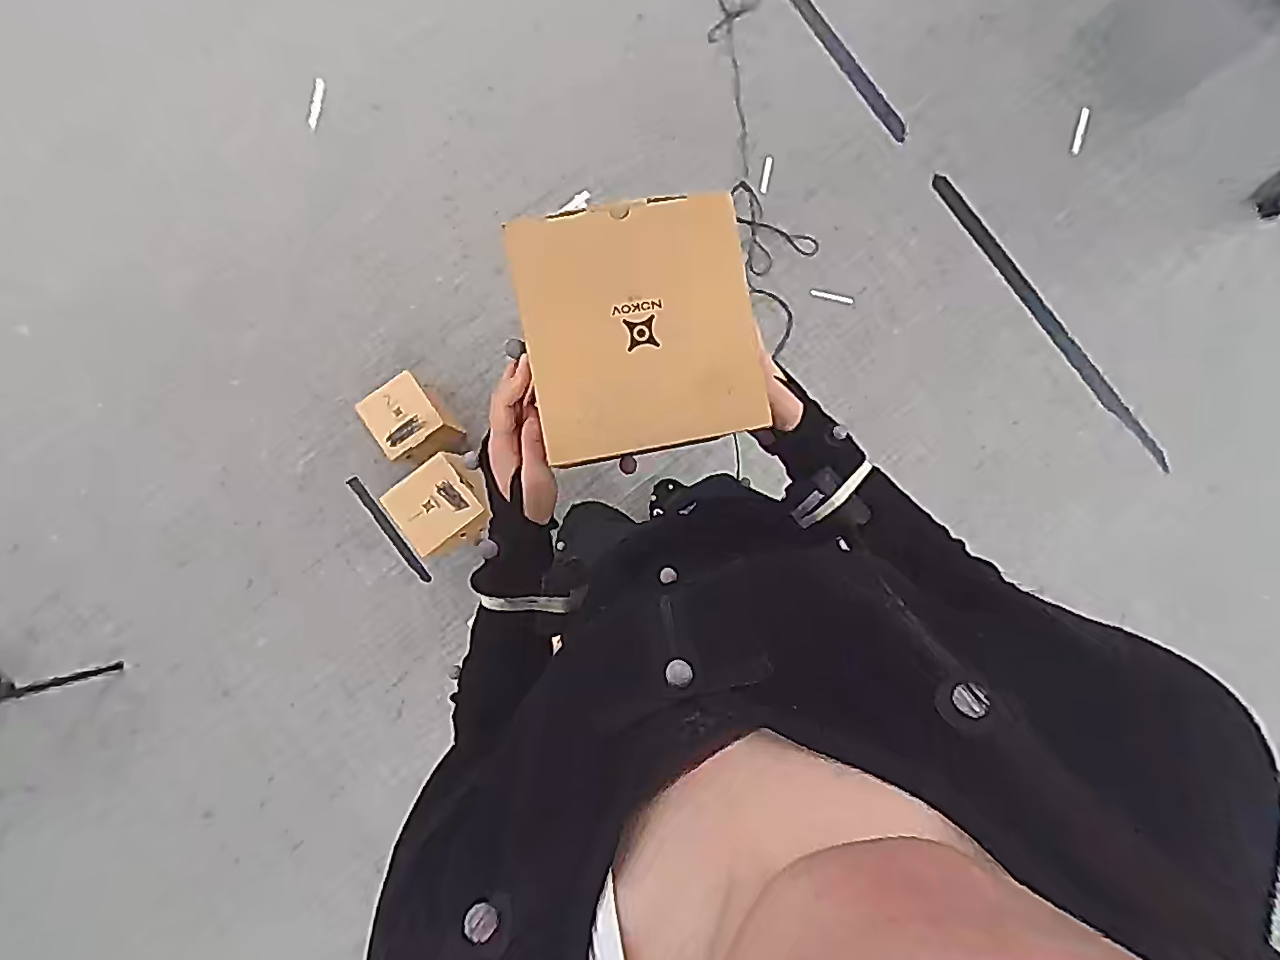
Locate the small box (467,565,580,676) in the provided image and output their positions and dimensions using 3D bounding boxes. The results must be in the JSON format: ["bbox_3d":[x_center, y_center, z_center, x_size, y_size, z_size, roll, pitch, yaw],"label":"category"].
[{"bbox_3d":[-0.257,0.312,1.249,0.179,0.176,0.168,42,87,3],"label":"small box"}]

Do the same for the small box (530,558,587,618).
[{"bbox_3d":[-0.254,0.320,1.412,0.179,0.176,0.168,41,88,1],"label":"small box"}]

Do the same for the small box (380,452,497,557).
[{"bbox_3d":[-0.453,0.055,1.258,0.179,0.176,0.168,-38,88,0],"label":"small box"}]

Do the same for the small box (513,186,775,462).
[{"bbox_3d":[0.000,-0.112,0.462,0.168,0.176,0.179,-10,90,-4],"label":"small box"}]

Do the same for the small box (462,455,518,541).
[{"bbox_3d":[-0.447,0.053,1.423,0.179,0.176,0.168,-34,89,-2],"label":"small box"}]
